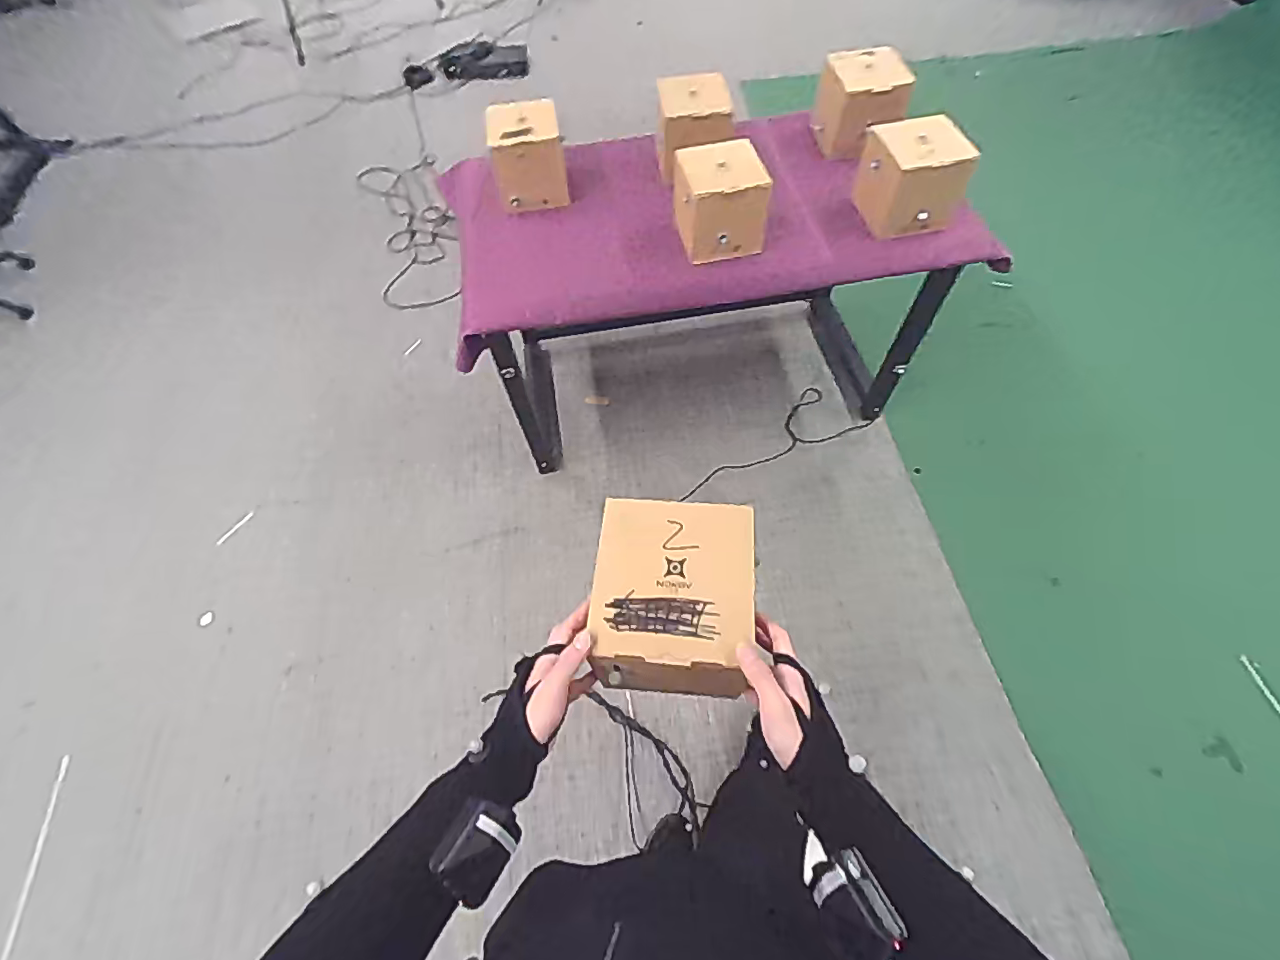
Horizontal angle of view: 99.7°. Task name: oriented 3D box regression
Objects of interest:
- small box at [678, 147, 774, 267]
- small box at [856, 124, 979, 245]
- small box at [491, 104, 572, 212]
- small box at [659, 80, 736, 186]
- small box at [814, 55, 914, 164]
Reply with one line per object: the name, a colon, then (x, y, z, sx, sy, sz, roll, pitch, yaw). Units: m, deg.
small box: (0.183, -0.610, 1.216, 0.168, 0.176, 0.179, -11, 60, -4)
small box: (0.611, -0.664, 1.221, 0.168, 0.176, 0.179, -10, 60, -1)
small box: (-0.263, -0.784, 1.332, 0.168, 0.176, 0.179, -8, 60, -3)
small box: (0.139, -0.866, 1.363, 0.168, 0.176, 0.179, -6, 61, -1)
small box: (0.561, -0.934, 1.378, 0.168, 0.176, 0.179, -8, 63, -2)
